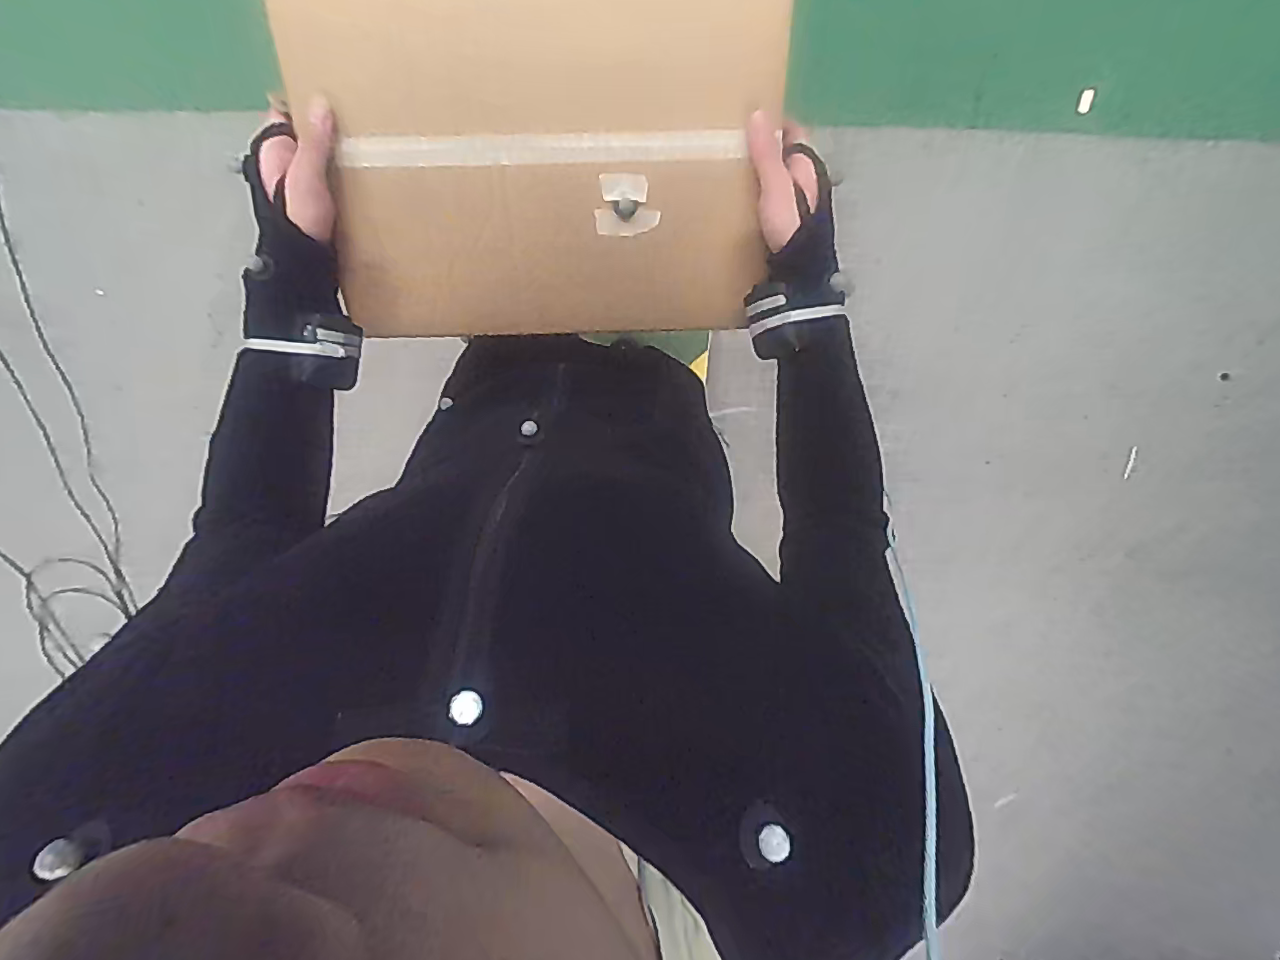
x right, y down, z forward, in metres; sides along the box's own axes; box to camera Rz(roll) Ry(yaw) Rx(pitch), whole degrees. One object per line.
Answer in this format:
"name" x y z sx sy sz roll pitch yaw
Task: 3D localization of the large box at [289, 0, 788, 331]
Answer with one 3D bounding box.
"large box" -0.084 -0.361 0.607 0.408 0.320 0.320 -2 117 -2
